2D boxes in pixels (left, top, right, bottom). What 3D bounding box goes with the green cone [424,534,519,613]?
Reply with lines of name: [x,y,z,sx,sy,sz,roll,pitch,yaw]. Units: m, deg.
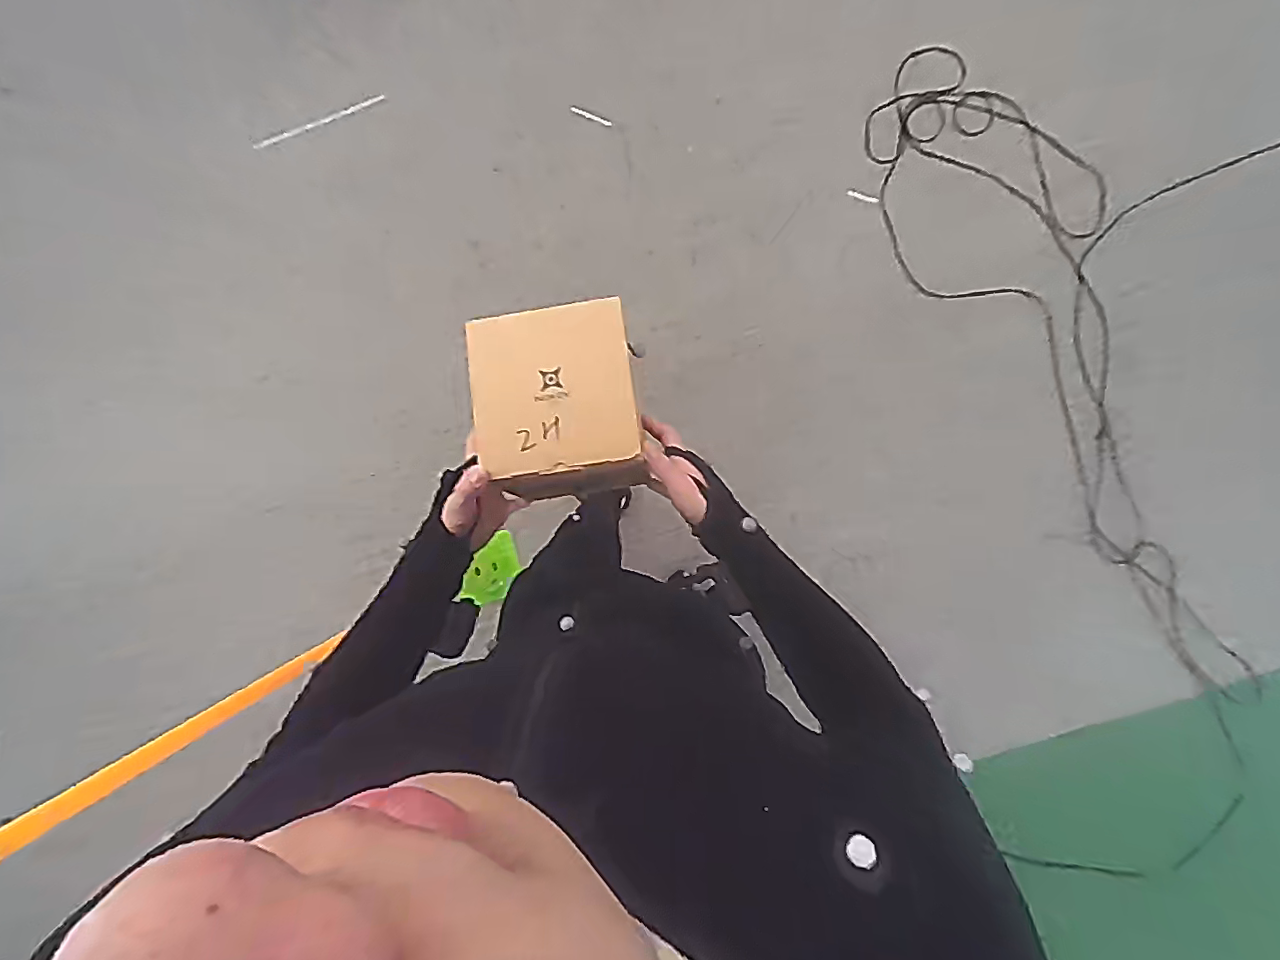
green cone: [-0.485,0.270,1.442,0.202,0.368,0.200,-17,86,1]
